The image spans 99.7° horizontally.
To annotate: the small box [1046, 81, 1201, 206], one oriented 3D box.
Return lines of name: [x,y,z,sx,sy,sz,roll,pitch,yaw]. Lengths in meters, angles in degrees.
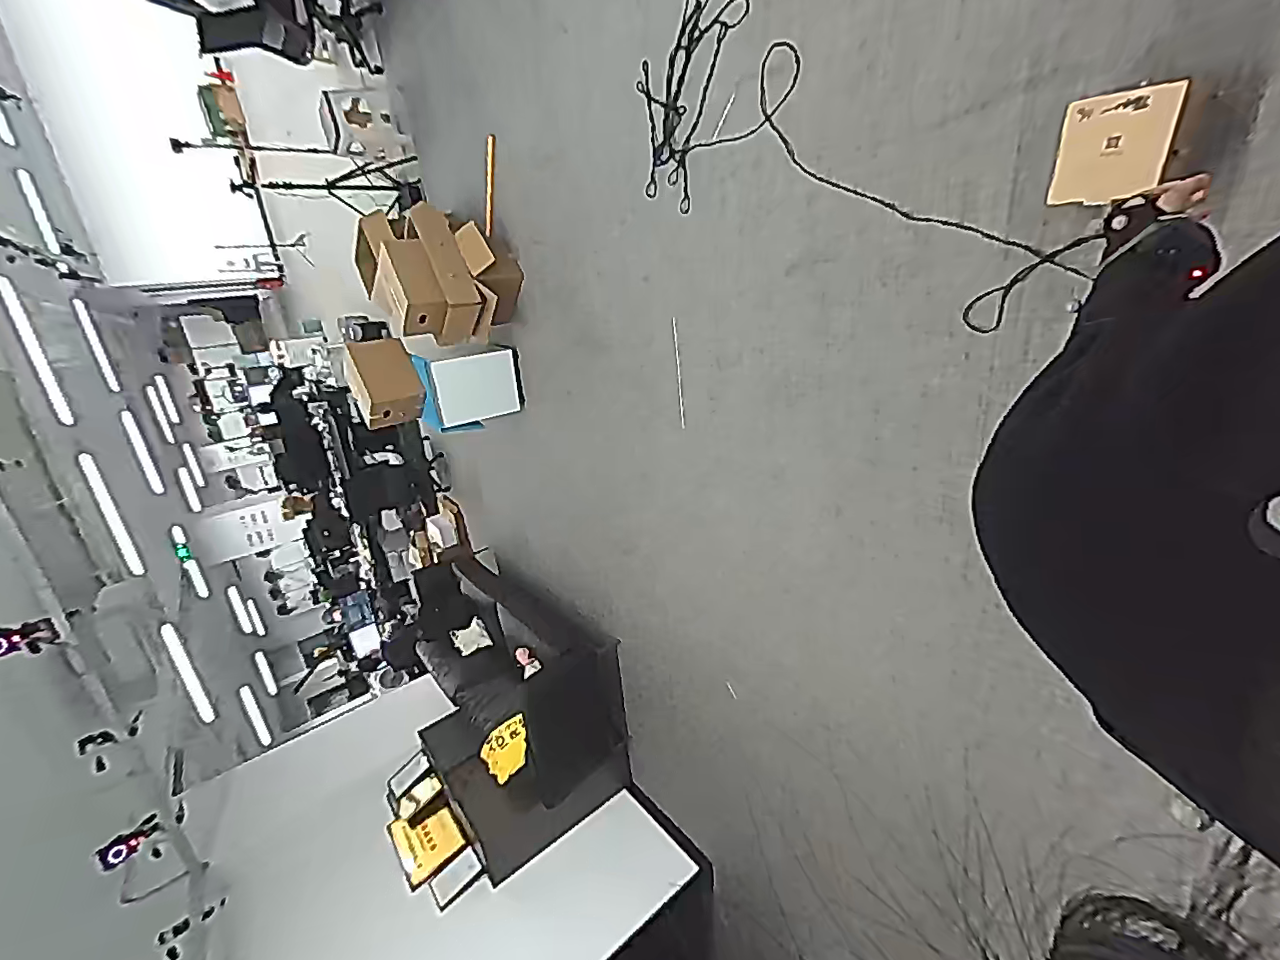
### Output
small box: [0.910,-0.625,1.021,0.168,0.176,0.179,24,126,46]
